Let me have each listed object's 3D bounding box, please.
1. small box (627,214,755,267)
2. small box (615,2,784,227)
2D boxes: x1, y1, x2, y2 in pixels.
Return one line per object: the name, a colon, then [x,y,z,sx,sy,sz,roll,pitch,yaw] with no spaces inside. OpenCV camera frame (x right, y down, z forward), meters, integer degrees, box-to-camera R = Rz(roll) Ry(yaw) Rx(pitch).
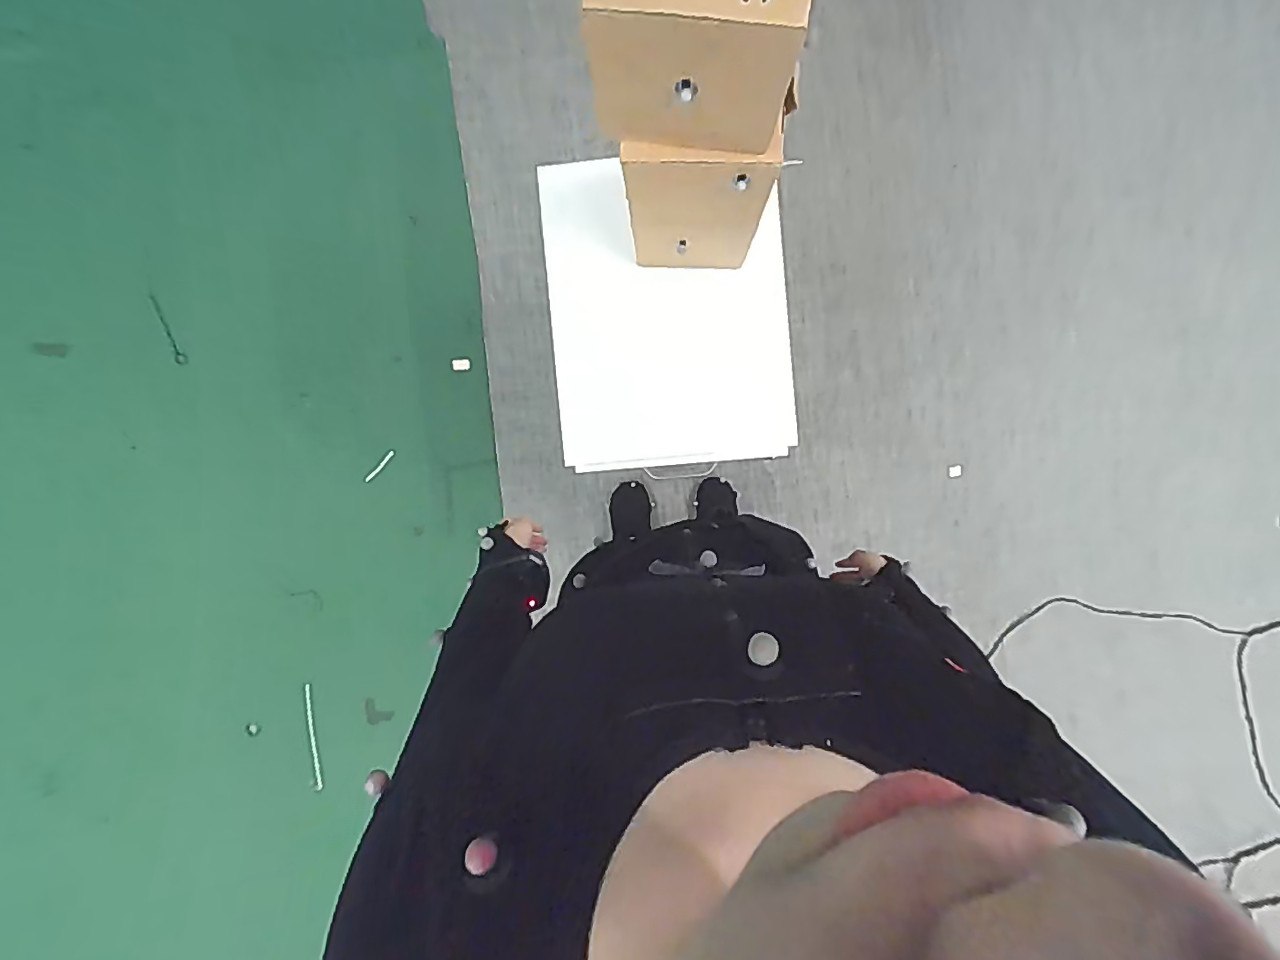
small box: [0.077,-0.431,0.814,0.179,0.176,0.168,2,92,3]
small box: [0.066,-0.422,0.651,0.179,0.176,0.168,1,92,2]
